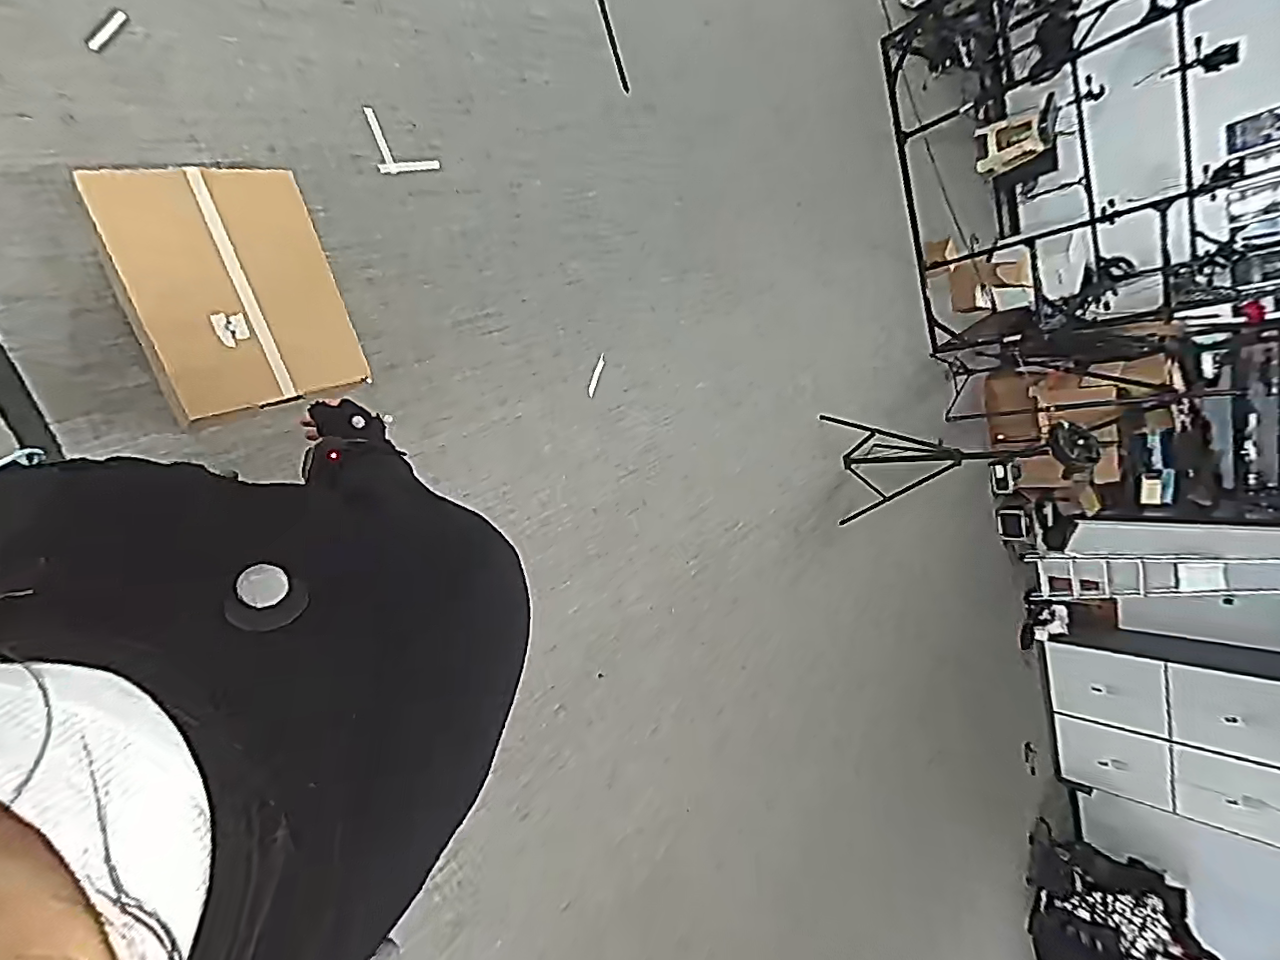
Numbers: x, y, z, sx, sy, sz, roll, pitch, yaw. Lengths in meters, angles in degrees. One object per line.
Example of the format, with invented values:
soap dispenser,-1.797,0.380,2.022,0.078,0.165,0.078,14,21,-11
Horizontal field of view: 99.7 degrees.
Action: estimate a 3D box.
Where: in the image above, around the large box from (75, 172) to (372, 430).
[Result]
large box,-0.815,-0.343,1.085,0.320,0.320,0.408,-27,108,-38
